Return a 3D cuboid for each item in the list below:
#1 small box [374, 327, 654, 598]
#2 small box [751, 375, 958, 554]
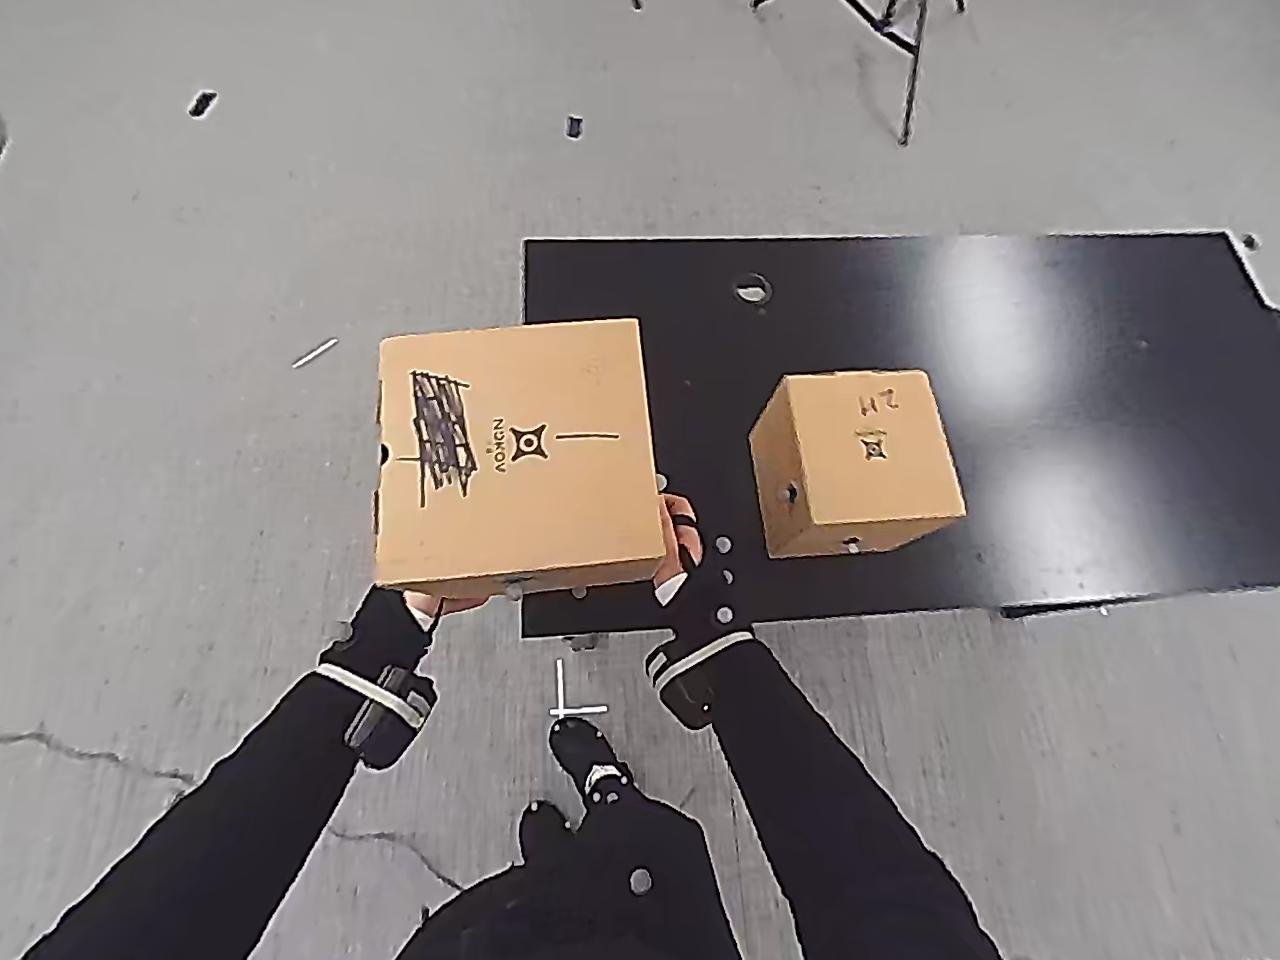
[{"bbox_3d":[-0.086,0.000,0.429,0.179,0.176,0.168,-6,76,-4],"label":"small box"},{"bbox_3d":[0.246,-0.009,0.667,0.168,0.176,0.179,-3,70,-5],"label":"small box"}]
